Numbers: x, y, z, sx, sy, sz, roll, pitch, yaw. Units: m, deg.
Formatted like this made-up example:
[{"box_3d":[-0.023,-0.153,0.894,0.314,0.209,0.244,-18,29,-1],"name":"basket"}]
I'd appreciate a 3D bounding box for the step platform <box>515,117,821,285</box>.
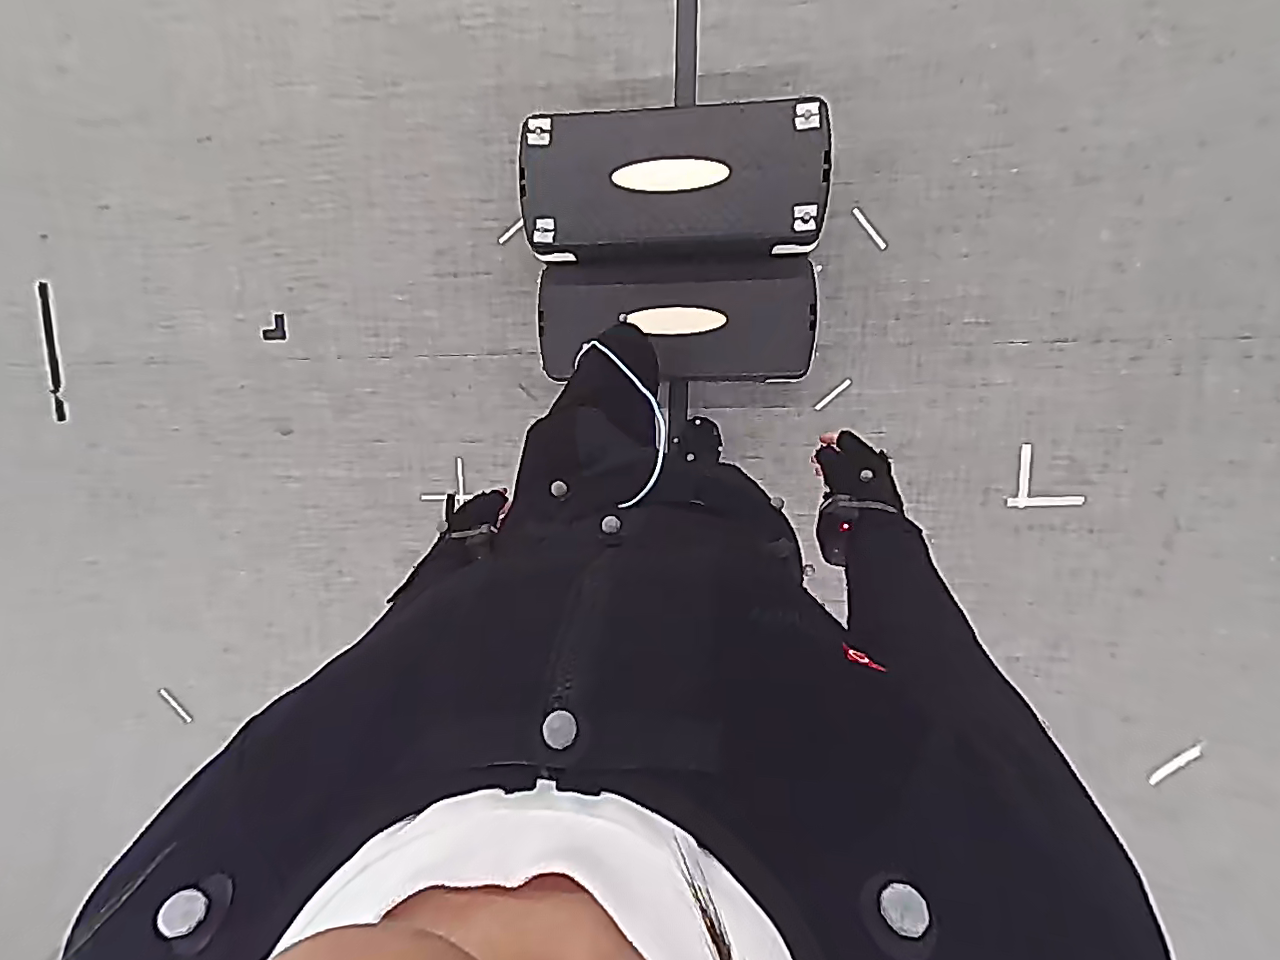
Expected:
[{"box_3d":[0.060,-0.630,1.251,0.684,0.204,0.286,-1,99,6],"name":"step platform"}]
